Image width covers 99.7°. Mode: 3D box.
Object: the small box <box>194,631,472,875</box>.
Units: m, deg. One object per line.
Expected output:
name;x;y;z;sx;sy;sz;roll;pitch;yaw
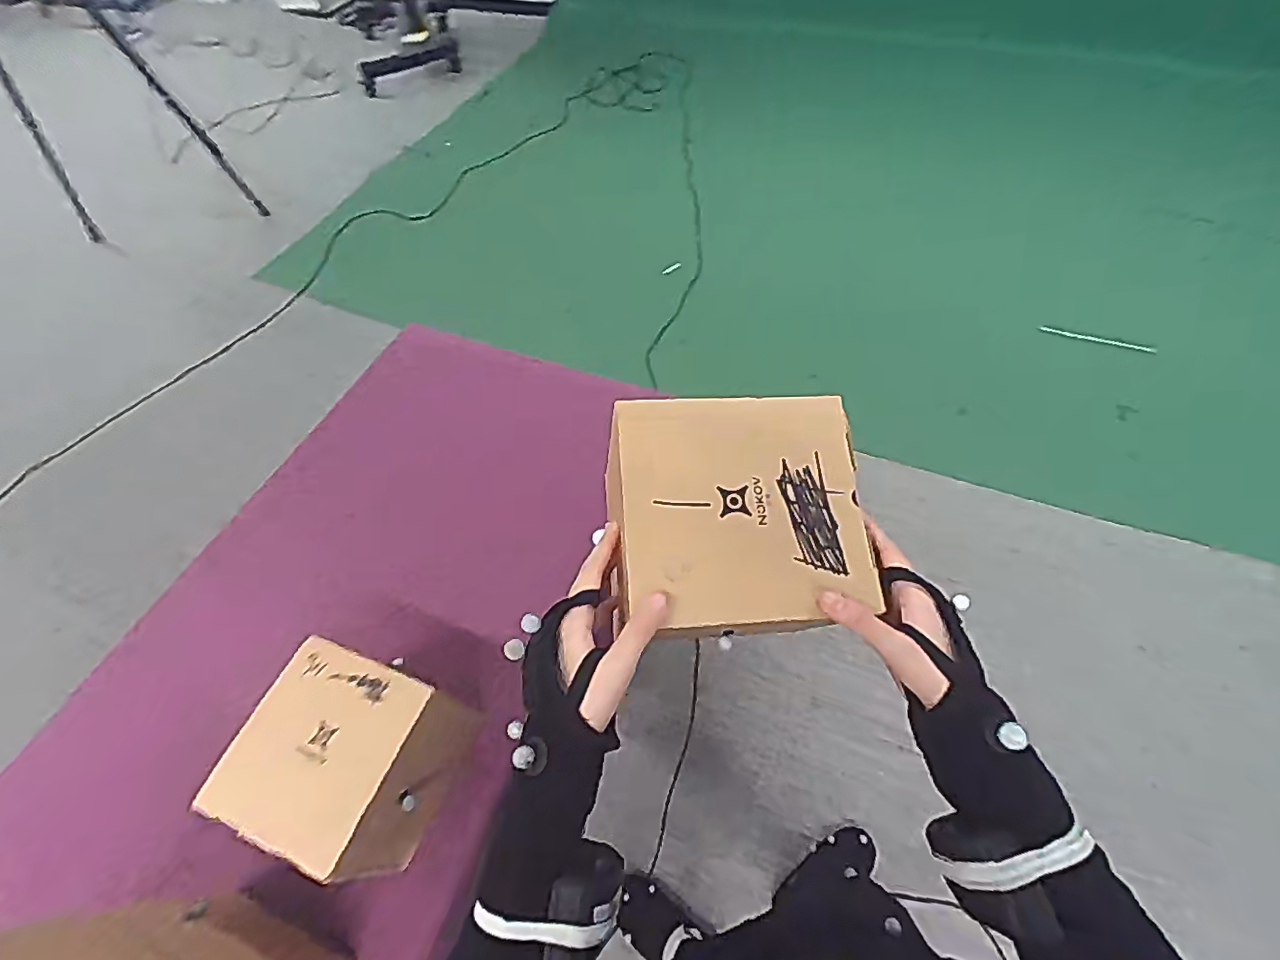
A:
small box;-0.317;0.299;0.604;0.168;0.176;0.179;17;61;15
